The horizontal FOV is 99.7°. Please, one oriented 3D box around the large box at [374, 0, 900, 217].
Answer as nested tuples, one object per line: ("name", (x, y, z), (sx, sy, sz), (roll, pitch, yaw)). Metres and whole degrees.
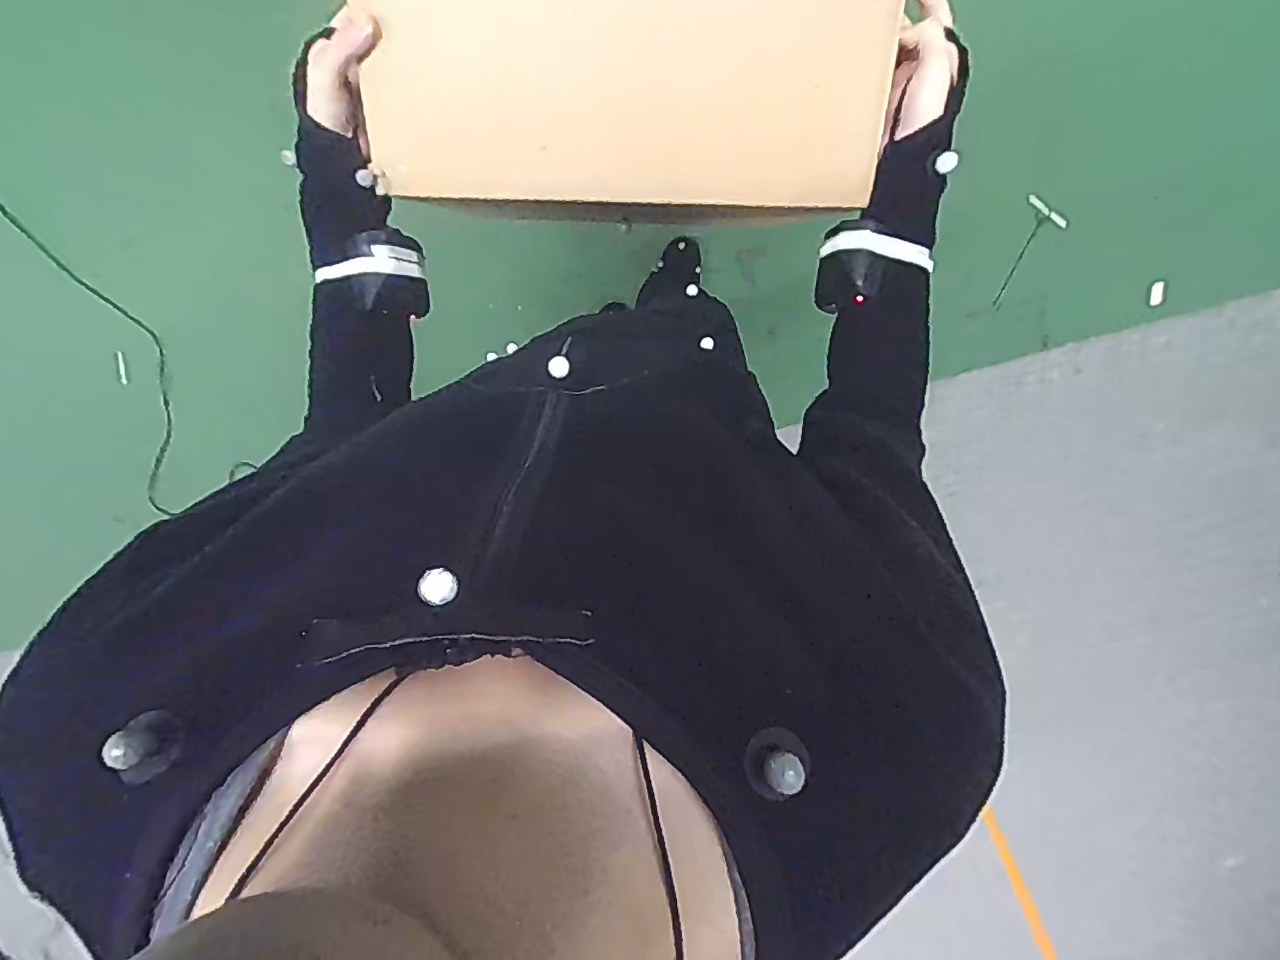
("large box", (0.000, -0.439, 0.534), (0.408, 0.320, 0.320), (2, 112, -1))
